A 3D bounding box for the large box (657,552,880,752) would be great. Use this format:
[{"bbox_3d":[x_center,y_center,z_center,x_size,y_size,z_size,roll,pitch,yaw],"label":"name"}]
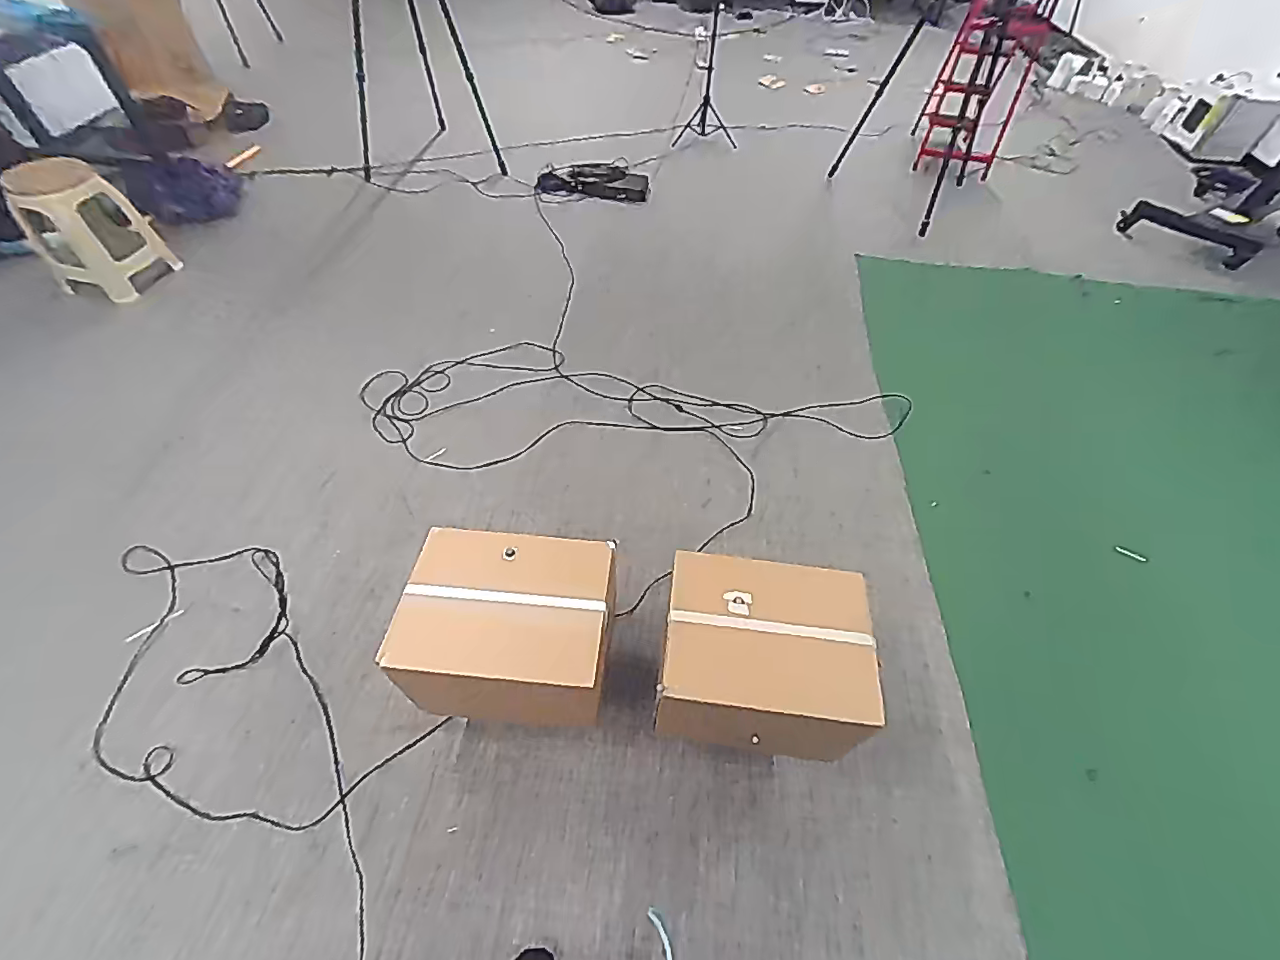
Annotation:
[{"bbox_3d":[0.258,0.387,1.200,0.408,0.320,0.320,7,52,4],"label":"large box"}]
